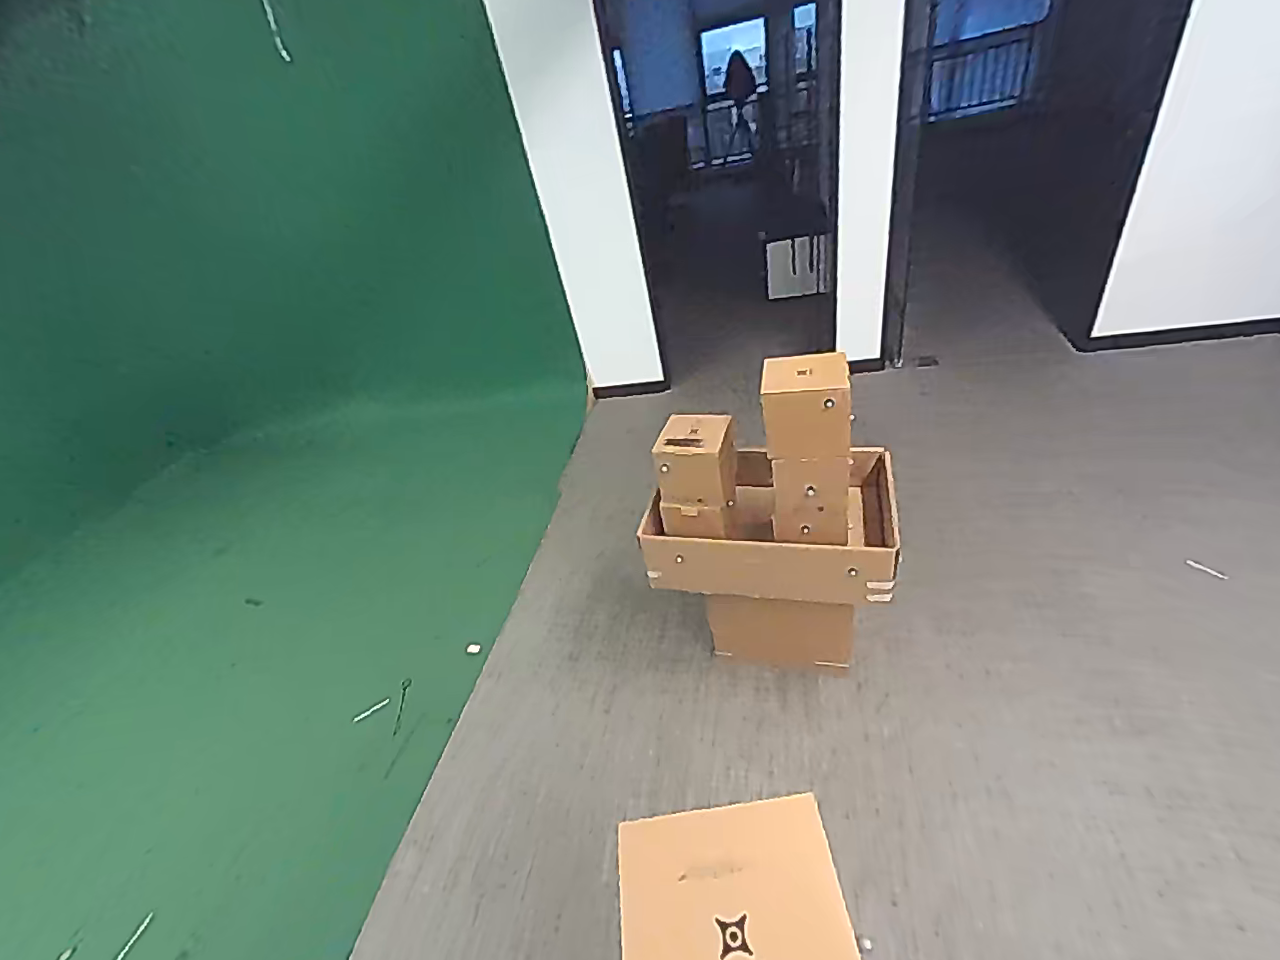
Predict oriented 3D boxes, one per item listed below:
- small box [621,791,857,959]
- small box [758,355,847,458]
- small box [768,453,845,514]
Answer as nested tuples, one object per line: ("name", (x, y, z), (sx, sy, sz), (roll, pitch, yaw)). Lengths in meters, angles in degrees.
("small box", (0.085, 0.383, 0.438), (0.168, 0.176, 0.179), (-11, 41, 5))
("small box", (0.360, -0.159, 1.194), (0.179, 0.176, 0.168), (-1, 37, 17))
("small box", (0.398, -0.031, 1.289), (0.168, 0.176, 0.179), (-2, 38, 17))
